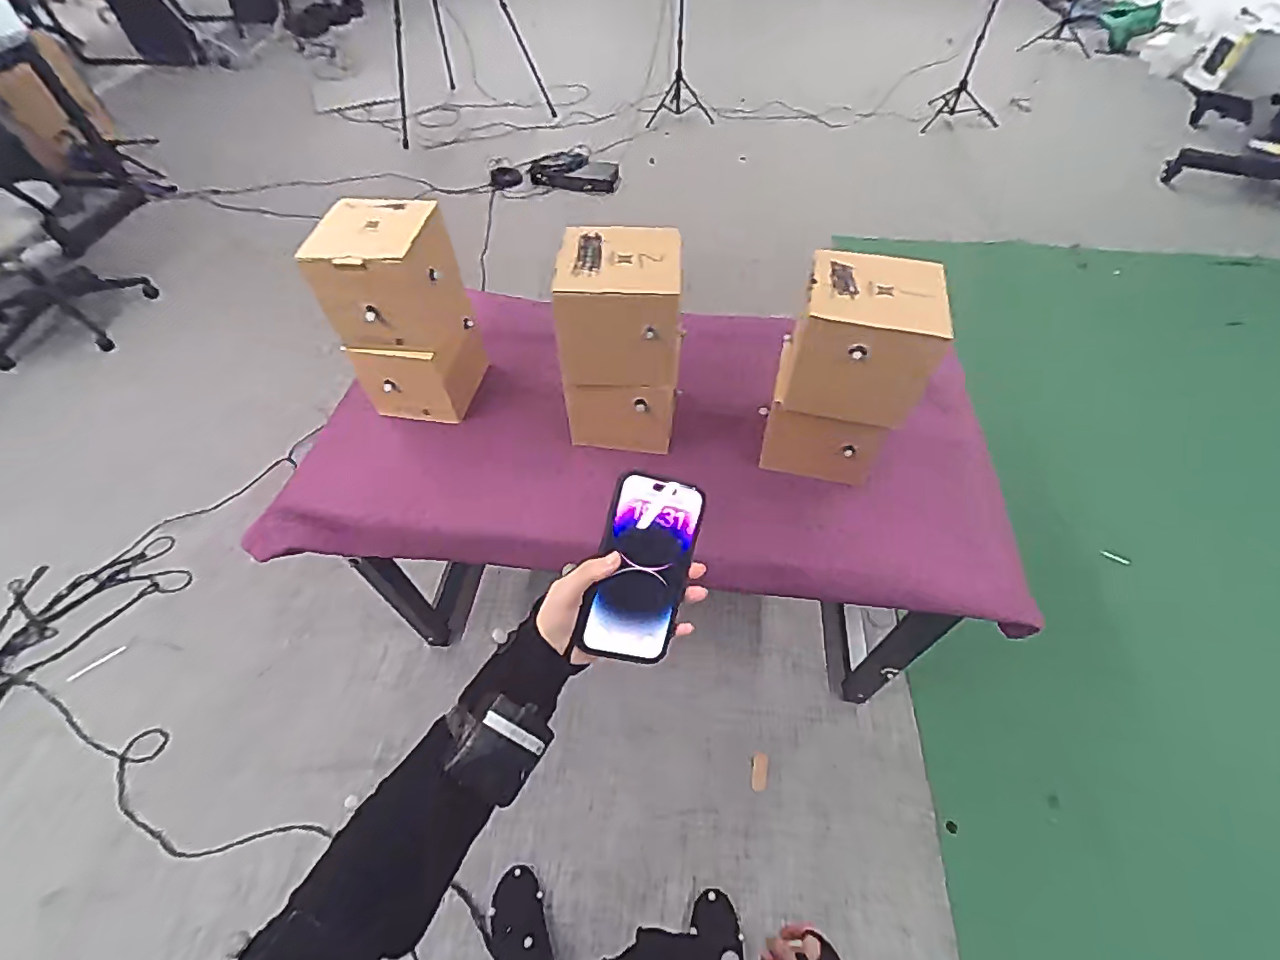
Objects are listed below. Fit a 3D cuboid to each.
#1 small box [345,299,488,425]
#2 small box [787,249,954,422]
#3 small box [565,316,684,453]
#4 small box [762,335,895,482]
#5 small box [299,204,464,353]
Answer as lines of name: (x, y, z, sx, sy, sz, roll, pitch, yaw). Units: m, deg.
small box: (-0.403, -0.222, 1.015, 0.168, 0.176, 0.179, 7, 53, 7)
small box: (0.316, -0.203, 0.773, 0.179, 0.176, 0.168, 11, 54, 9)
small box: (-0.020, -0.165, 0.958, 0.179, 0.176, 0.168, 6, 53, 7)
small box: (0.314, -0.117, 0.913, 0.179, 0.176, 0.168, 11, 54, 11)
small box: (-0.406, -0.328, 0.889, 0.168, 0.176, 0.179, 3, 54, 3)
